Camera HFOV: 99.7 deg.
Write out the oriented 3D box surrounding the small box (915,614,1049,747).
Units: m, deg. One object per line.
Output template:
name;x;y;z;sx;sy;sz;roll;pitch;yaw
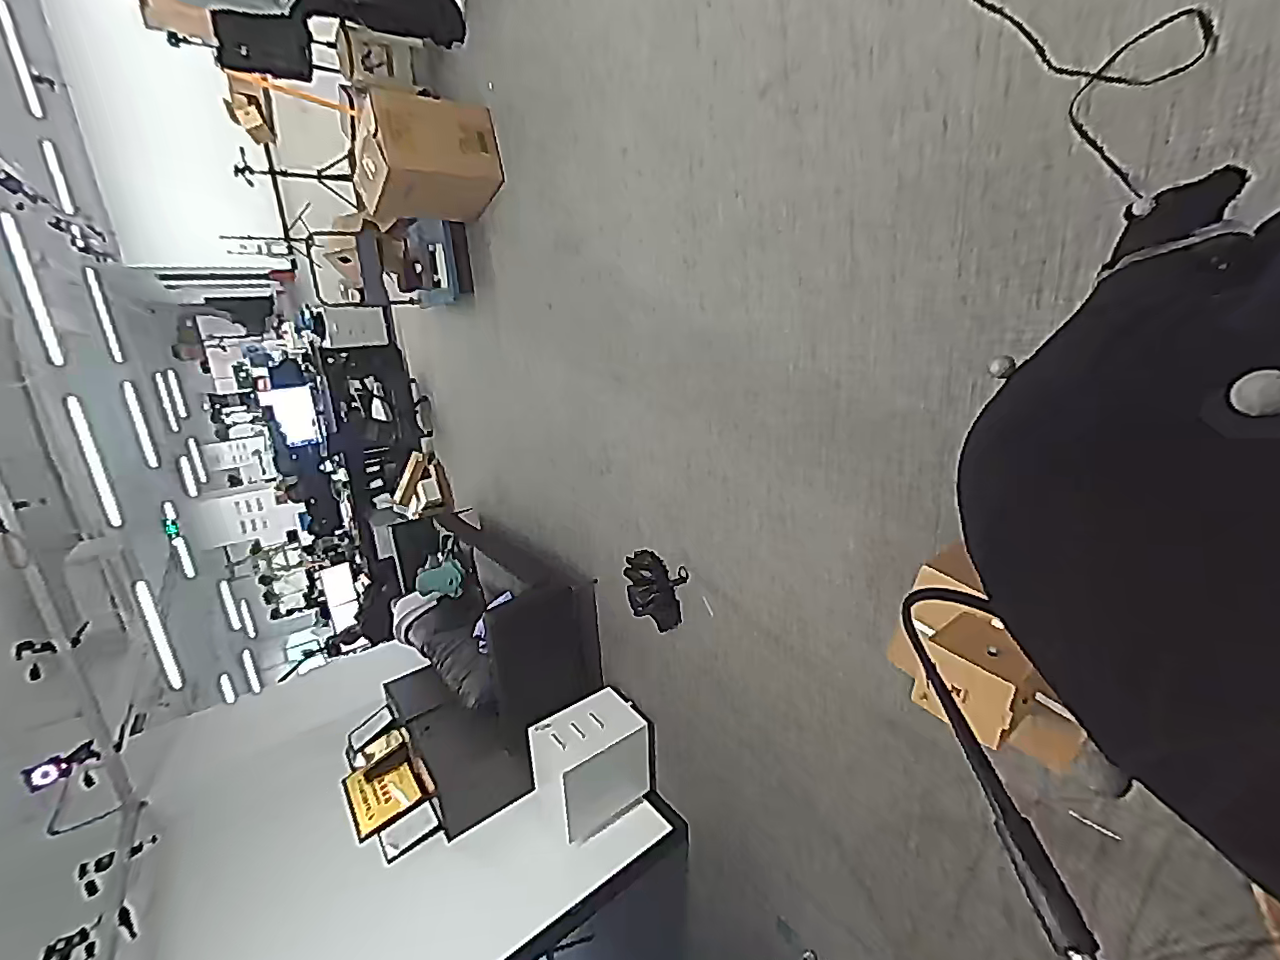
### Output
small box;0.718;0.408;1.137;0.179;0.176;0.168;26;123;47
